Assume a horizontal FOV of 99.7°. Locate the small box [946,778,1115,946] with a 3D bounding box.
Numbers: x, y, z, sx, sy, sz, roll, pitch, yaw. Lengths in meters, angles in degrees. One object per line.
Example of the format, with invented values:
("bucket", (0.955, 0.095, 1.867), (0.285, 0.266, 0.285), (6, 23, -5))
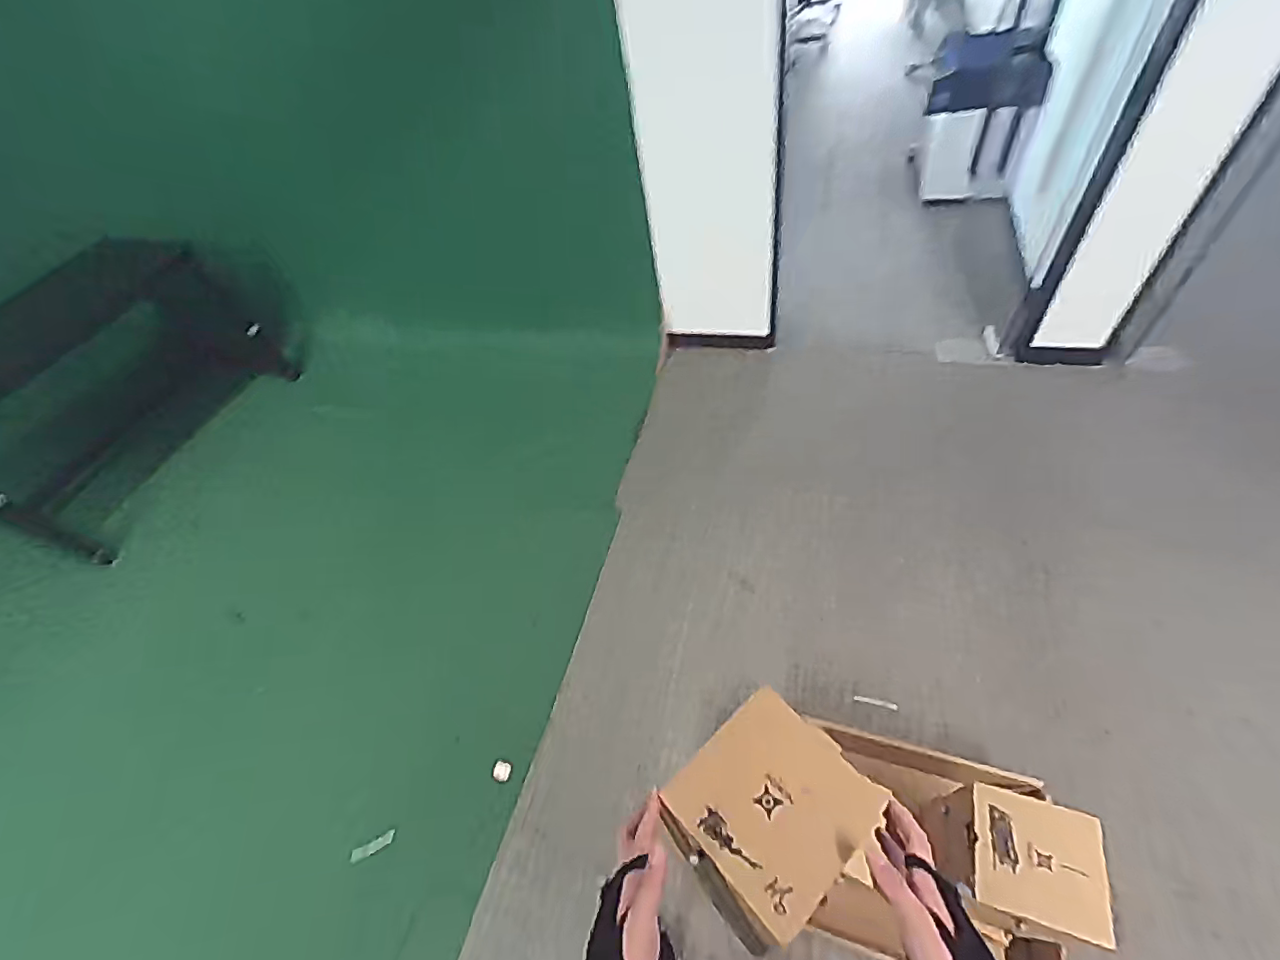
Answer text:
("small box", (0.609, 0.610, 0.869), (0.179, 0.176, 0.168), (11, 56, 19))
